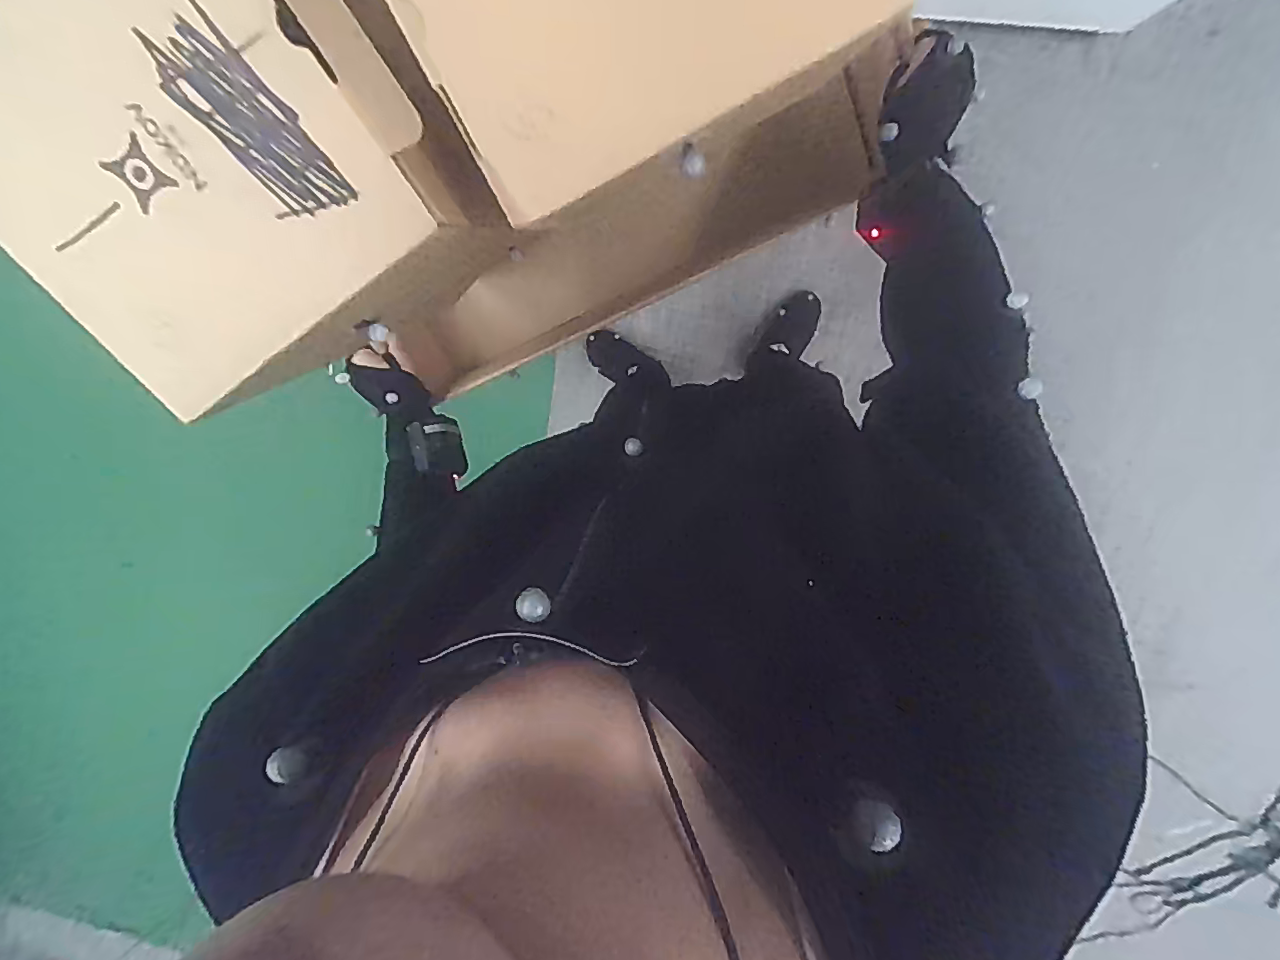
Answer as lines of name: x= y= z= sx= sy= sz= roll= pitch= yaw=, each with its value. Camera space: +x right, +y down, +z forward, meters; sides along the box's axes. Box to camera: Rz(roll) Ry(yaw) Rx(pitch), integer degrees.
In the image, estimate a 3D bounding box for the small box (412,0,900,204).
small box: x=-0.002 y=-0.248 z=0.254 sx=0.179 sy=0.176 sz=0.168 roll=-21 pitch=113 yaw=15
